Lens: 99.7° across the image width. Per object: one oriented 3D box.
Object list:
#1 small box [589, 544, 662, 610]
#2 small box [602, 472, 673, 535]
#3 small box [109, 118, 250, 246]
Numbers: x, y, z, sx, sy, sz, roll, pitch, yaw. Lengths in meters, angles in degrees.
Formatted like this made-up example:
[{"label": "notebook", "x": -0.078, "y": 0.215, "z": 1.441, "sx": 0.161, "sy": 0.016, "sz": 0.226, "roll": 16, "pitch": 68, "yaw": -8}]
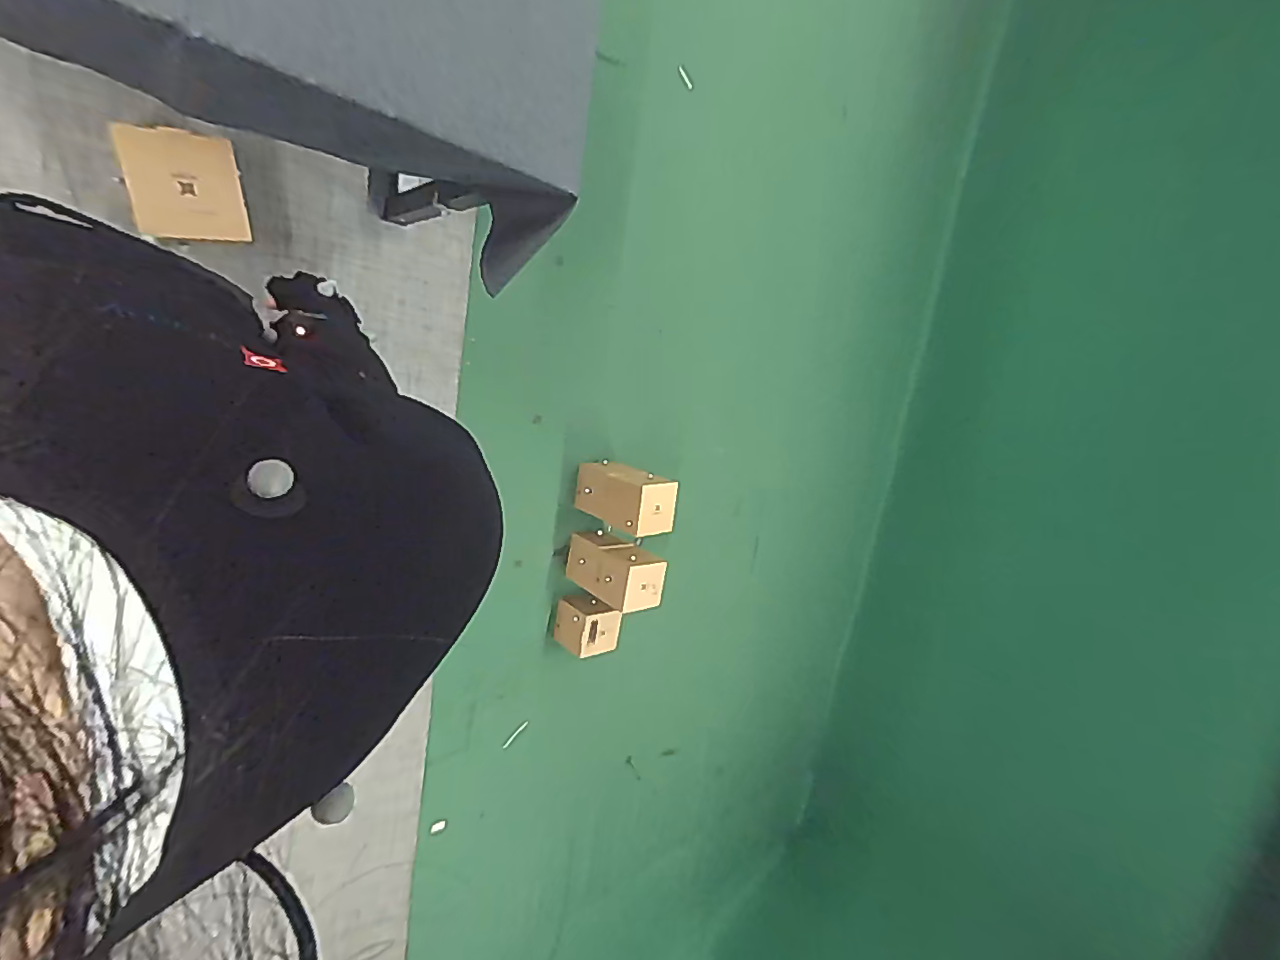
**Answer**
[{"label": "small box", "x": -0.053, "y": 0.330, "z": 1.871, "sx": 0.179, "sy": 0.176, "sz": 0.168, "roll": 0, "pitch": 105, "yaw": -44}, {"label": "small box", "x": -0.012, "y": 0.071, "z": 1.821, "sx": 0.168, "sy": 0.176, "sz": 0.179, "roll": -5, "pitch": 108, "yaw": -43}, {"label": "small box", "x": -0.863, "y": -0.545, "z": 1.015, "sx": 0.168, "sy": 0.176, "sz": 0.179, "roll": -17, "pitch": 115, "yaw": -39}]
